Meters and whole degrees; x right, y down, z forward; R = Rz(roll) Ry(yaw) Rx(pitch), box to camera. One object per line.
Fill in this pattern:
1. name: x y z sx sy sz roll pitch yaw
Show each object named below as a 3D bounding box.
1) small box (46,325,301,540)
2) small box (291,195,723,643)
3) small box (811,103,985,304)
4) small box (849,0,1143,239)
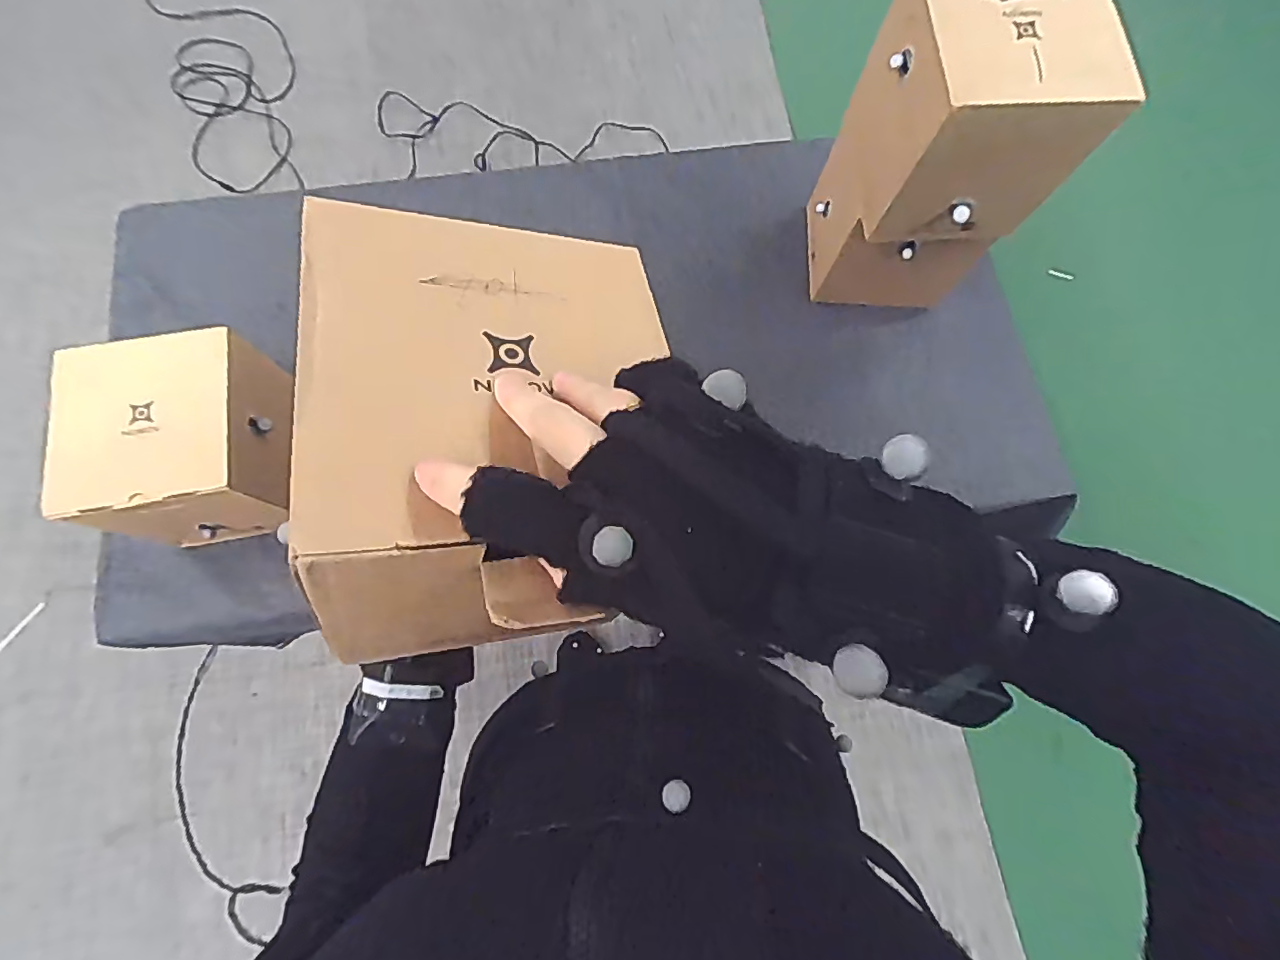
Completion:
1. small box: -0.480 -0.042 0.598 0.168 0.176 0.179 -10 76 -5
2. small box: -0.082 -0.017 0.304 0.168 0.176 0.179 -2 62 -25
3. small box: 0.330 -0.347 0.703 0.179 0.176 0.168 3 76 -1
4. small box: 0.327 -0.371 0.540 0.168 0.176 0.179 -3 76 -2
